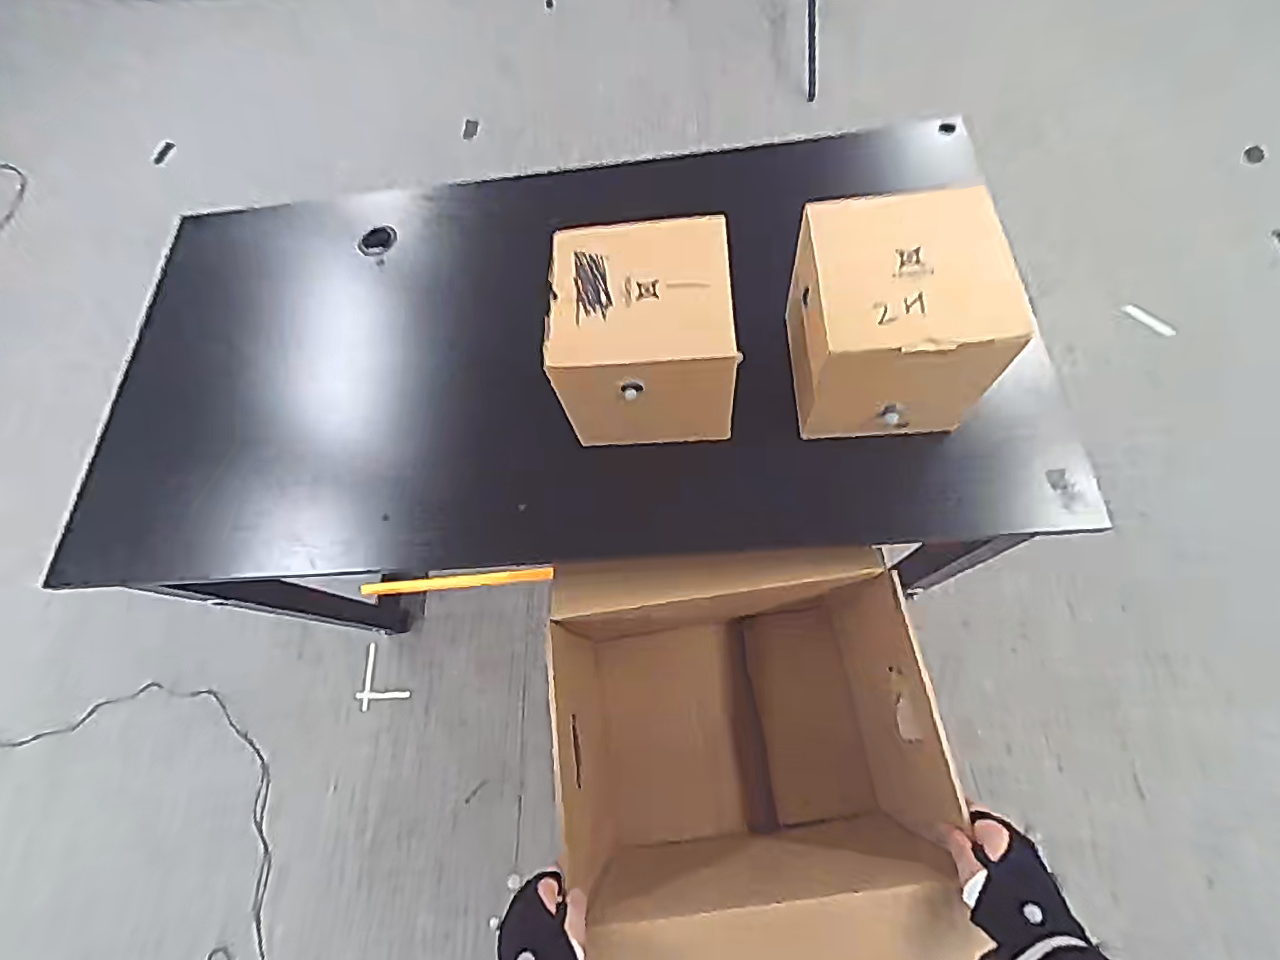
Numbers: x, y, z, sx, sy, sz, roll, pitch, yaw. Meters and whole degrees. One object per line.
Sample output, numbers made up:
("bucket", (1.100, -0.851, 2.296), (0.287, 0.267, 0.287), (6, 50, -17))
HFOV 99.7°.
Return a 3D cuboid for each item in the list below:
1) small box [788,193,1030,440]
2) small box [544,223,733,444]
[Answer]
("small box", (0.251, -0.158, 0.559), (0.168, 0.176, 0.179), (-2, 68, 7))
("small box", (0.008, -0.146, 0.588), (0.179, 0.176, 0.168), (-2, 68, 6))
